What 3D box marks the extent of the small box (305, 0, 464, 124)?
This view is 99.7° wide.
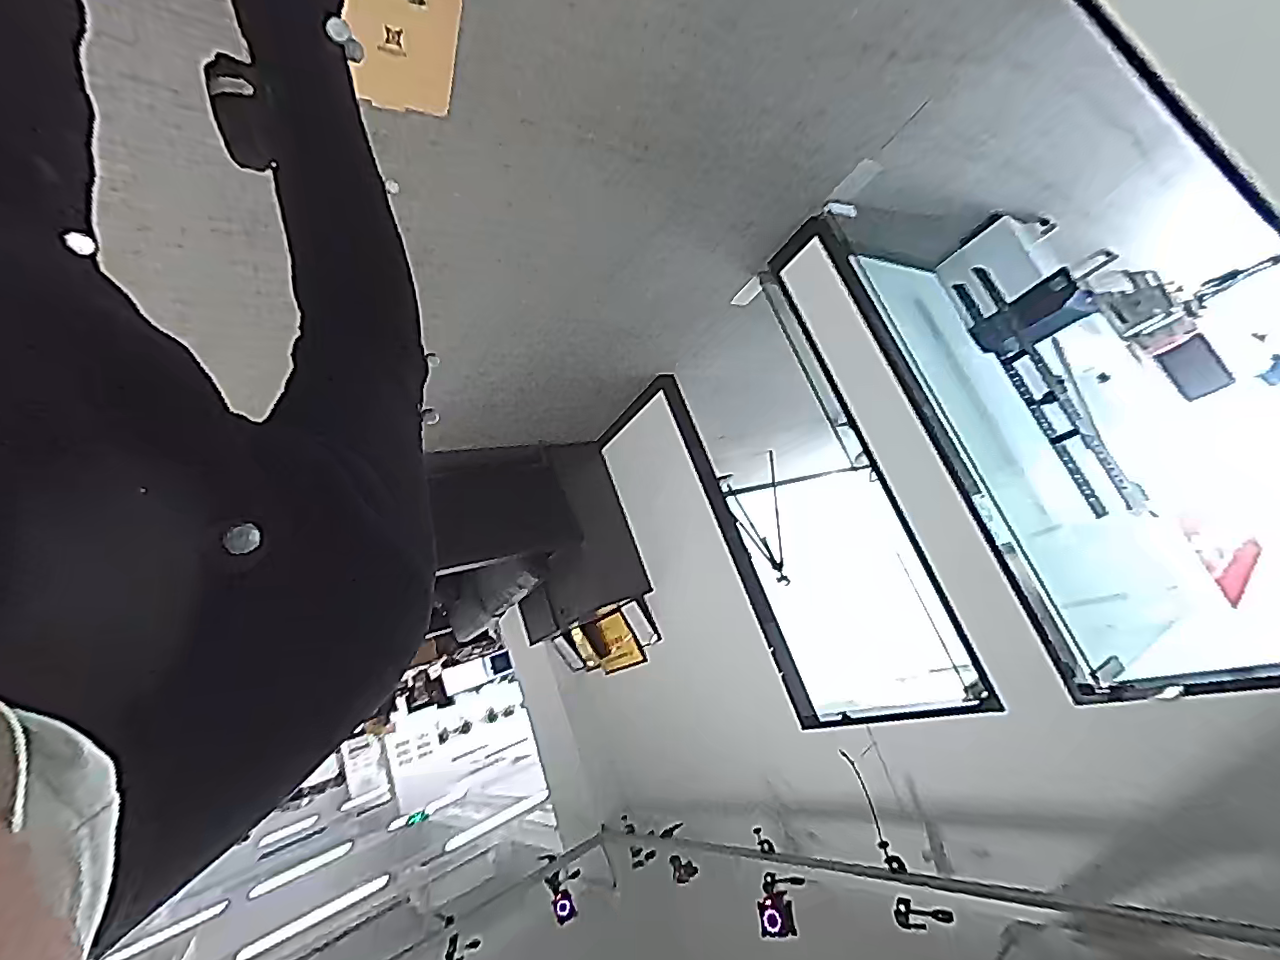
[{"bbox_3d":[-0.355,-0.642,0.741,0.168,0.176,0.179,-11,161,-31],"label":"small box"}]
